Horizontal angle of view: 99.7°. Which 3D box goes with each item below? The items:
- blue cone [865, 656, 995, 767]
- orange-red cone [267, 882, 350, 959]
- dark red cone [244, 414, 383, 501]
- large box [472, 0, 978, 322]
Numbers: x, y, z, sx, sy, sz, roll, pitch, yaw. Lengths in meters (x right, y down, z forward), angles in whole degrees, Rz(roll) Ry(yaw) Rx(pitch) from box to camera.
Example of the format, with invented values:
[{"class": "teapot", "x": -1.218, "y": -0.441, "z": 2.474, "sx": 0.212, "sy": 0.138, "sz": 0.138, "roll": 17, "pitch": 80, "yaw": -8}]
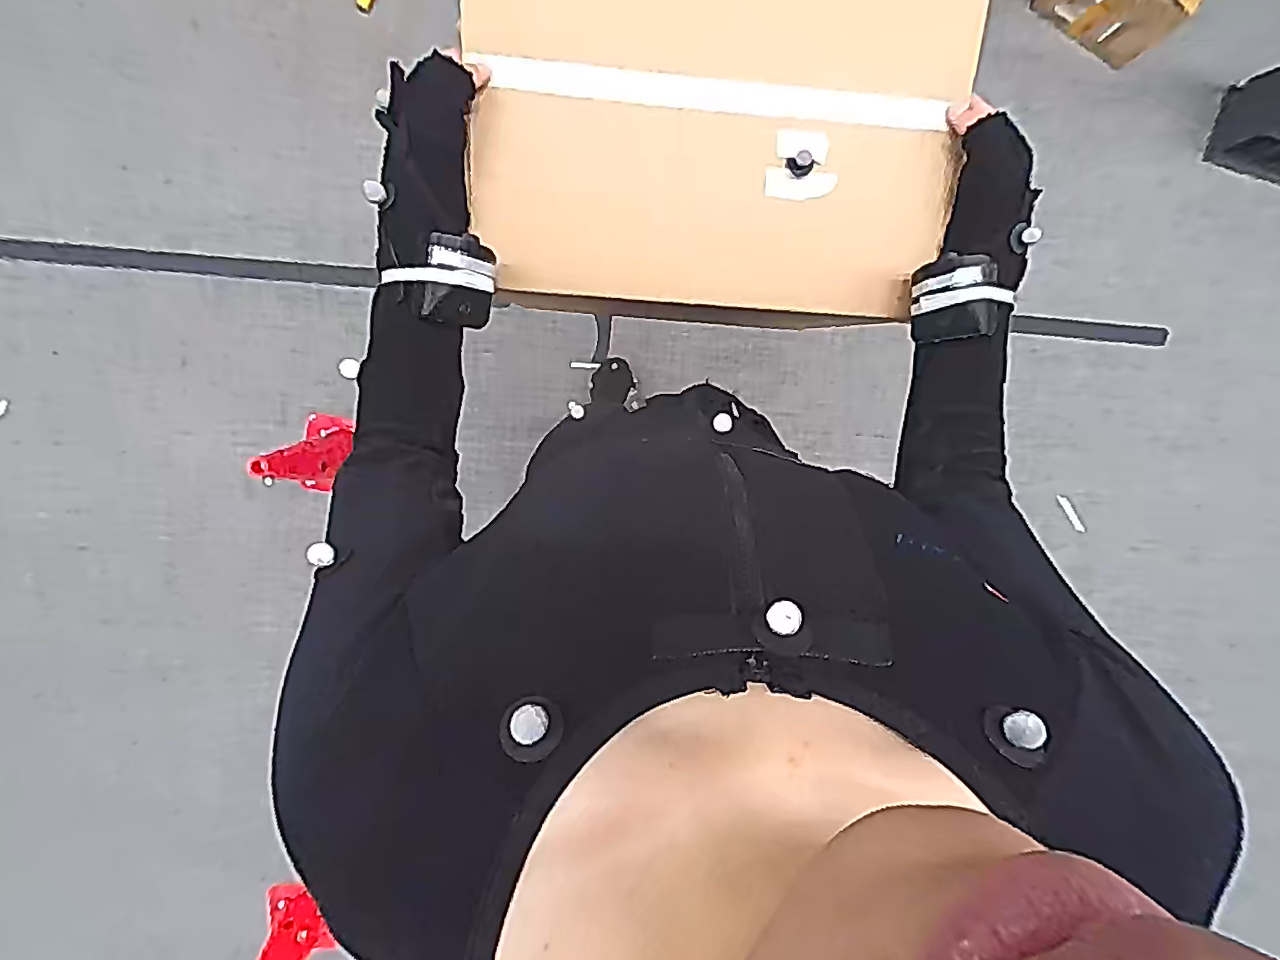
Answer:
[{"class": "blue cone", "x": 0.770, "y": 0.624, "z": 1.421, "sx": 0.192, "sy": 0.380, "sz": 0.193, "roll": 7, "pitch": 95, "yaw": -6}, {"class": "orange-red cone", "x": -0.908, "y": 1.241, "z": 1.348, "sx": 0.198, "sy": 0.360, "sz": 0.199, "roll": 1, "pitch": 97, "yaw": -3}, {"class": "dark red cone", "x": -0.747, "y": -0.042, "z": 1.210, "sx": 0.201, "sy": 0.394, "sz": 0.202, "roll": 9, "pitch": 95, "yaw": -6}, {"class": "large box", "x": 0.055, "y": -0.346, "z": 0.578, "sx": 0.408, "sy": 0.320, "sz": 0.320, "roll": 3, "pitch": 104, "yaw": -5}]
